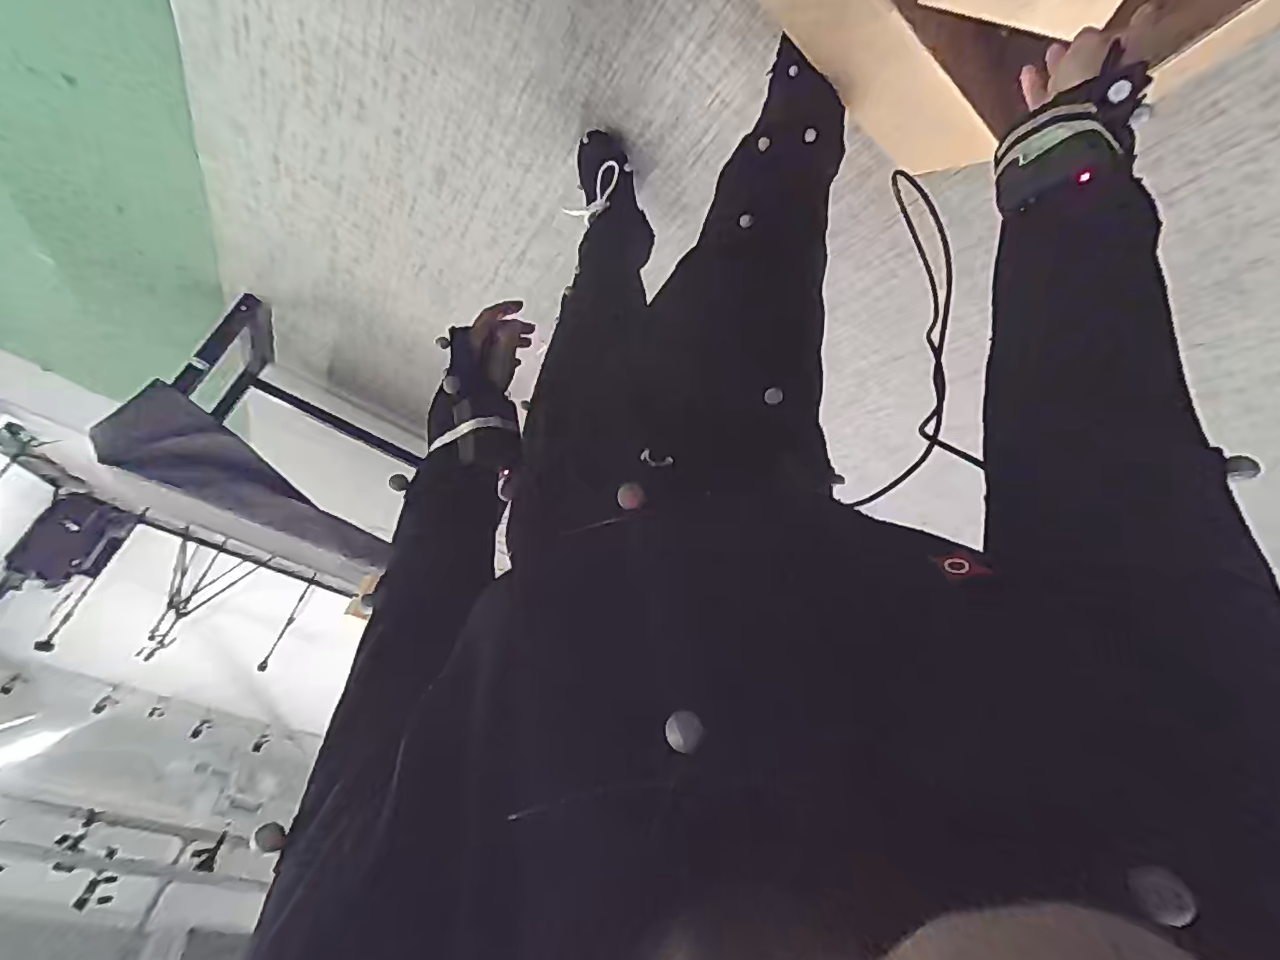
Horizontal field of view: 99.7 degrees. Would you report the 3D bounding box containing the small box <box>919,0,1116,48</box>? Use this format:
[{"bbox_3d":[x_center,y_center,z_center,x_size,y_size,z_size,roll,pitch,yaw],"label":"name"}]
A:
[{"bbox_3d":[0.365,-0.534,0.468,0.168,0.176,0.179,16,153,1],"label":"small box"}]

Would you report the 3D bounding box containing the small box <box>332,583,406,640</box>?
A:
[{"bbox_3d":[-1.035,0.501,2.068,0.179,0.176,0.168,32,150,-29],"label":"small box"}]
